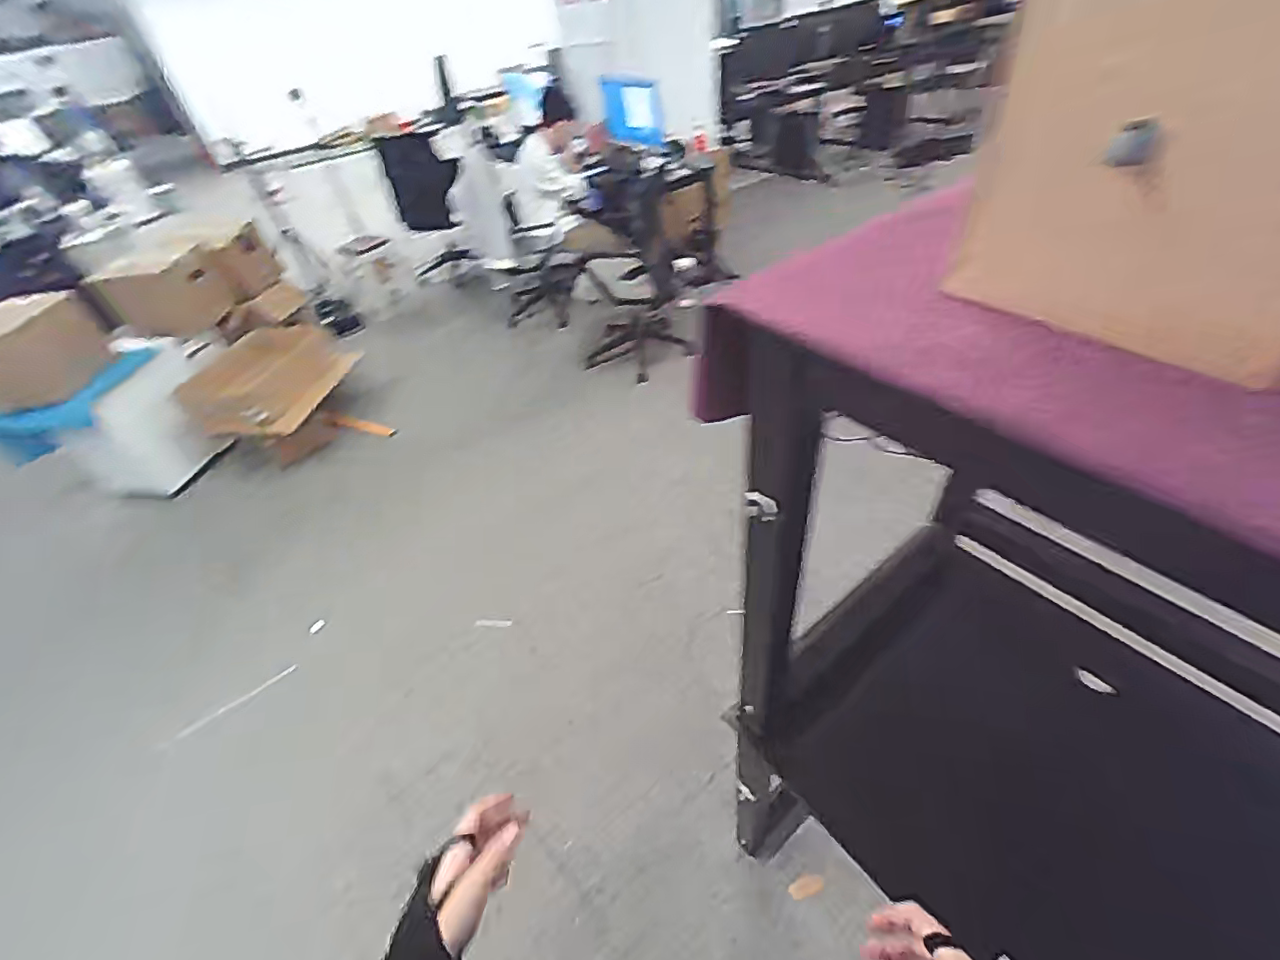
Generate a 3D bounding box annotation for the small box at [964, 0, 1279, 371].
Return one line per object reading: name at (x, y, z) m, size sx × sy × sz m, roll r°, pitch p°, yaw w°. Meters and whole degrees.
small box at (0.320, -0.182, 0.296) m, size 0.168 × 0.176 × 0.179 m, roll -29°, pitch 46°, yaw -21°
